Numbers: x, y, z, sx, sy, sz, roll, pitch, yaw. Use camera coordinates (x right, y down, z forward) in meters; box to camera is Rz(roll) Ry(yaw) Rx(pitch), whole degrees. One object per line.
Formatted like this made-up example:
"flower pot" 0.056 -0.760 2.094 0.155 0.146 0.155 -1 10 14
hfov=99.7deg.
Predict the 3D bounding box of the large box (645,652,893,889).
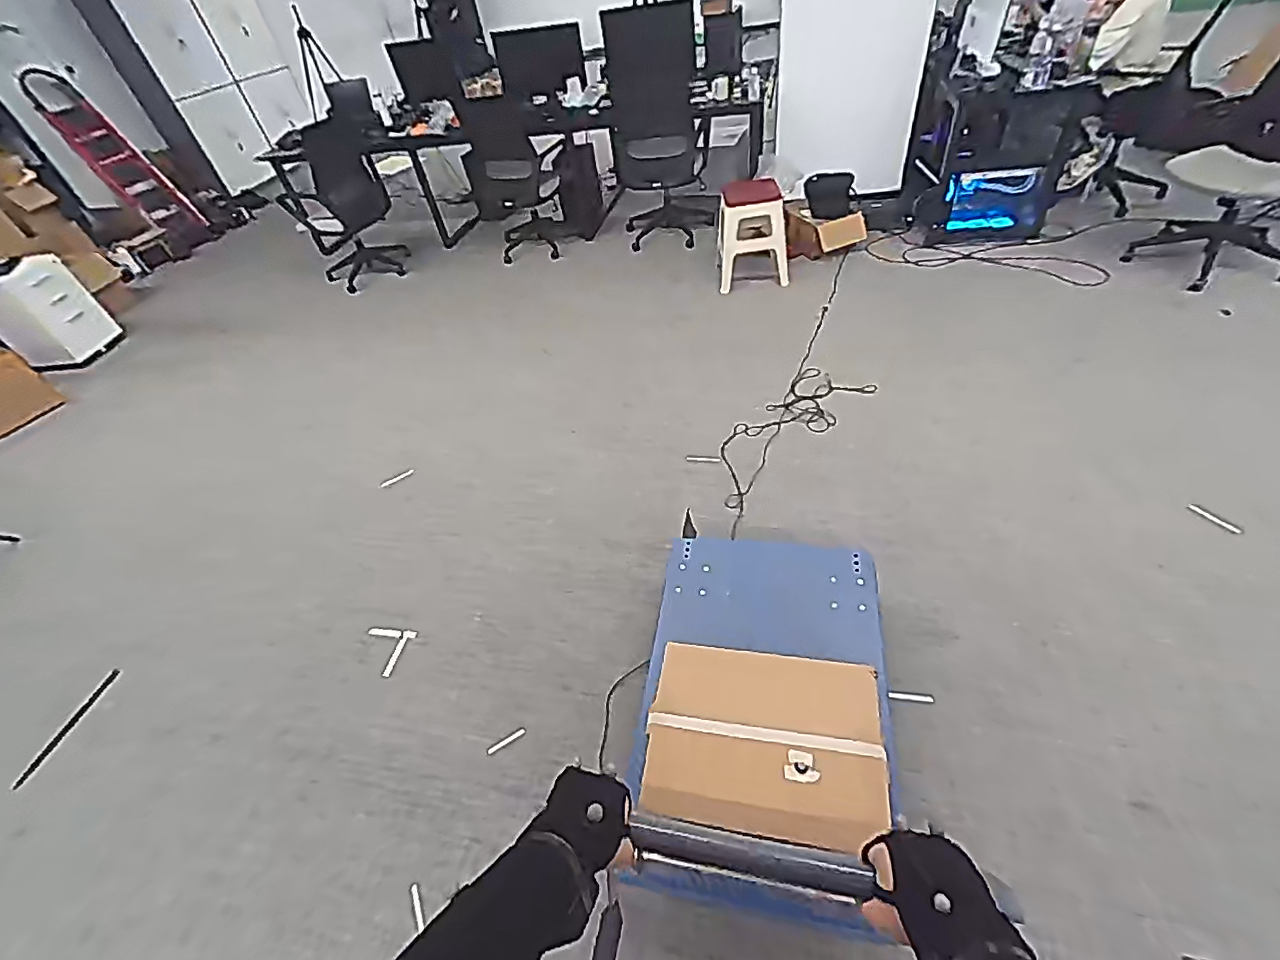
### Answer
"large box" 0.243 0.574 1.080 0.408 0.320 0.320 2 48 13
